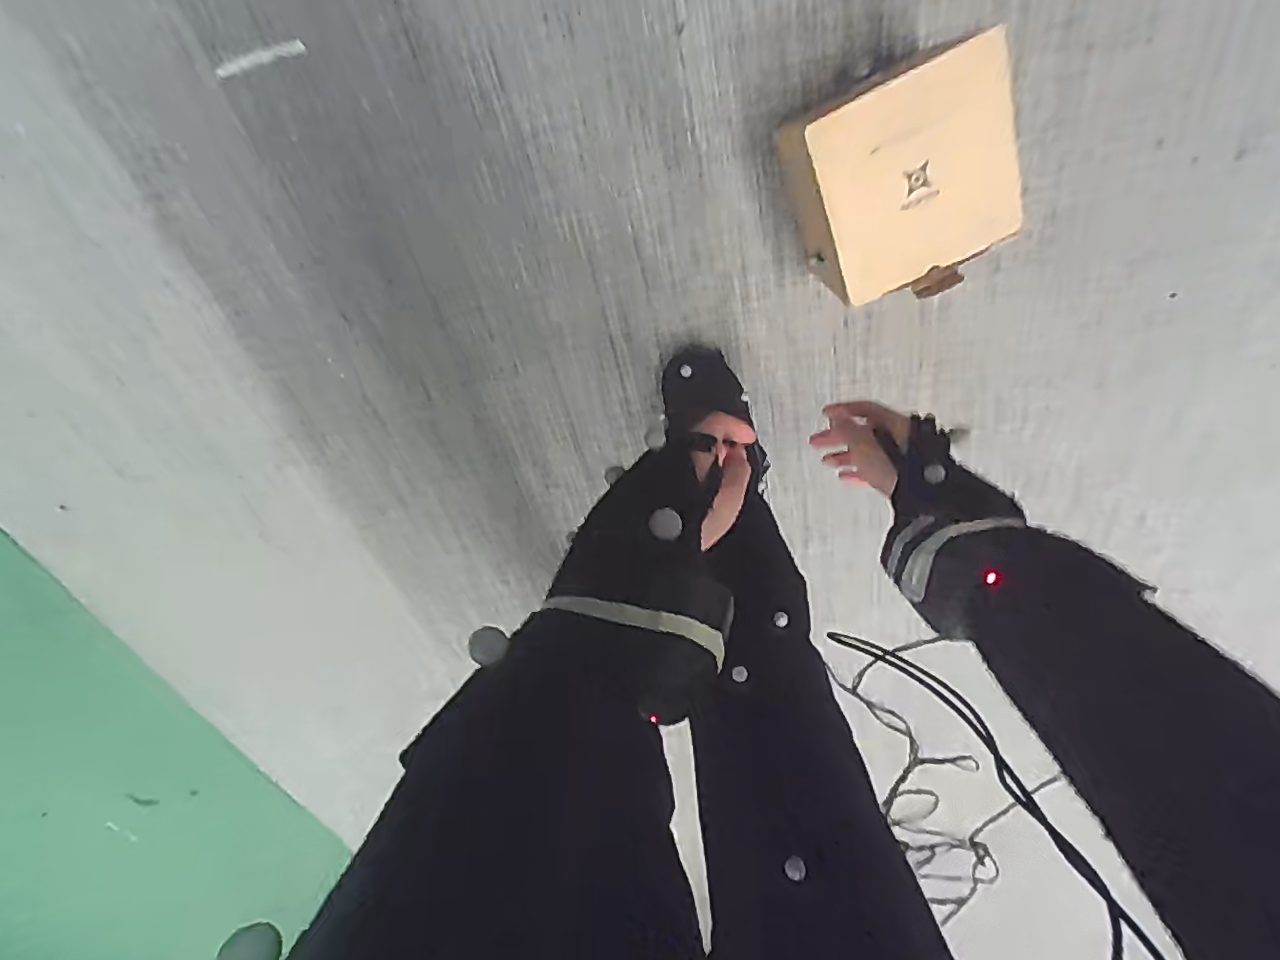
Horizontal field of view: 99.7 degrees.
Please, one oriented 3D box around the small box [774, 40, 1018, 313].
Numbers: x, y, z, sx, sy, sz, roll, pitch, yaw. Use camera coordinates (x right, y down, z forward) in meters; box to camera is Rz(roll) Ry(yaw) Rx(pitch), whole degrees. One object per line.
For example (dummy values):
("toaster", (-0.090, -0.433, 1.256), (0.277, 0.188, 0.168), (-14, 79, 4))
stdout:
("small box", (0.255, -0.307, 0.565), (0.168, 0.176, 0.179), (-22, 118, 14))
